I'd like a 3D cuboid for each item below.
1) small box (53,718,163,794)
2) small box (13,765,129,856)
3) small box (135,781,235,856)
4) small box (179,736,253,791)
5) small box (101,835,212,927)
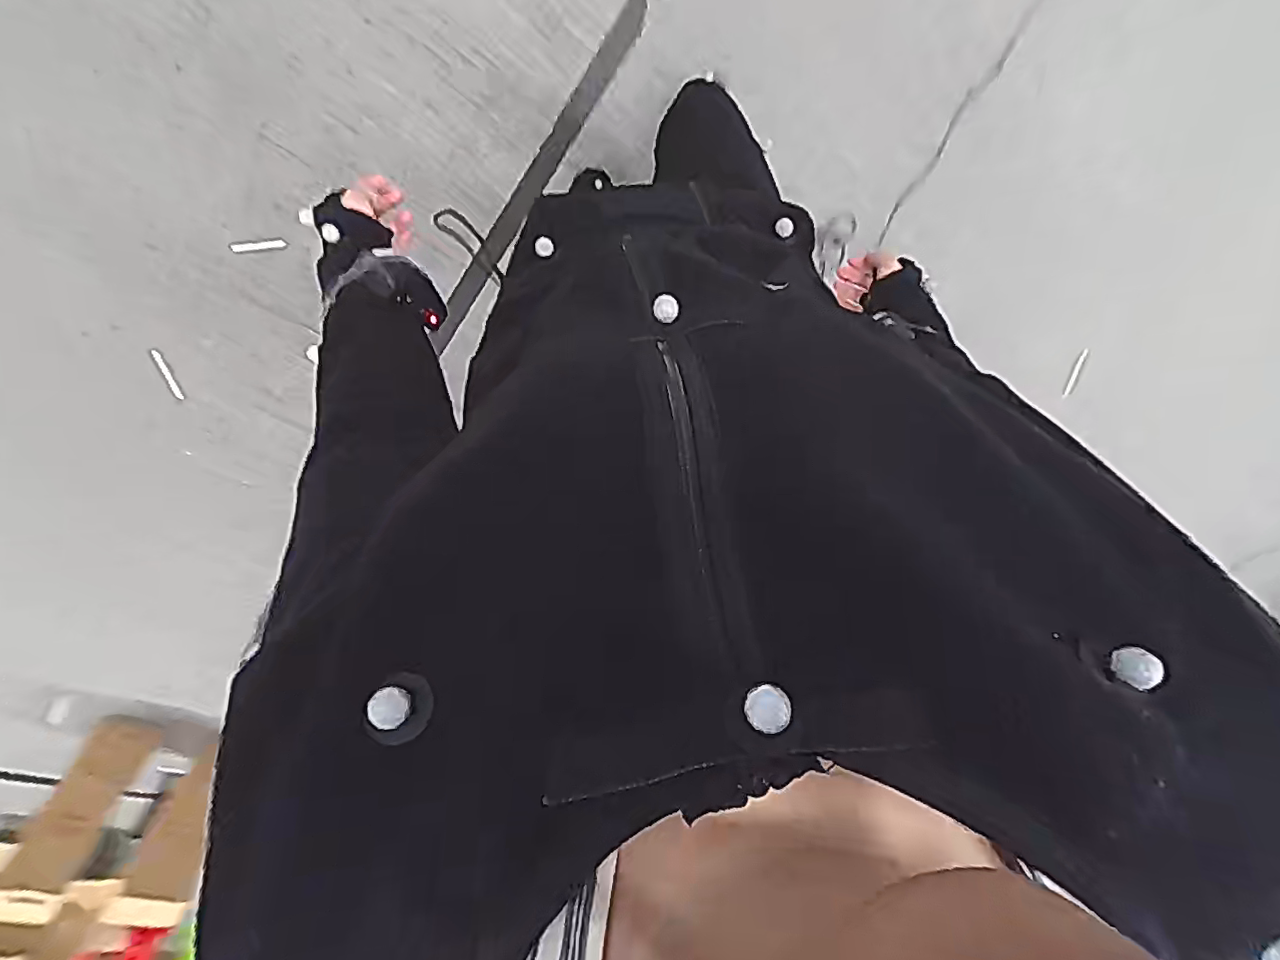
[{"bbox_3d":[-1.736,0.912,1.773,0.179,0.176,0.168,35,110,-28],"label":"small box"},{"bbox_3d":[-1.707,0.996,1.634,0.168,0.176,0.179,33,112,-28],"label":"small box"},{"bbox_3d":[-1.474,1.113,1.763,0.179,0.176,0.168,30,112,-26],"label":"small box"},{"bbox_3d":[-1.503,1.033,1.901,0.168,0.176,0.179,29,114,-25],"label":"small box"},{"bbox_3d":[-1.446,1.204,1.628,0.179,0.176,0.168,31,112,-25],"label":"small box"}]
